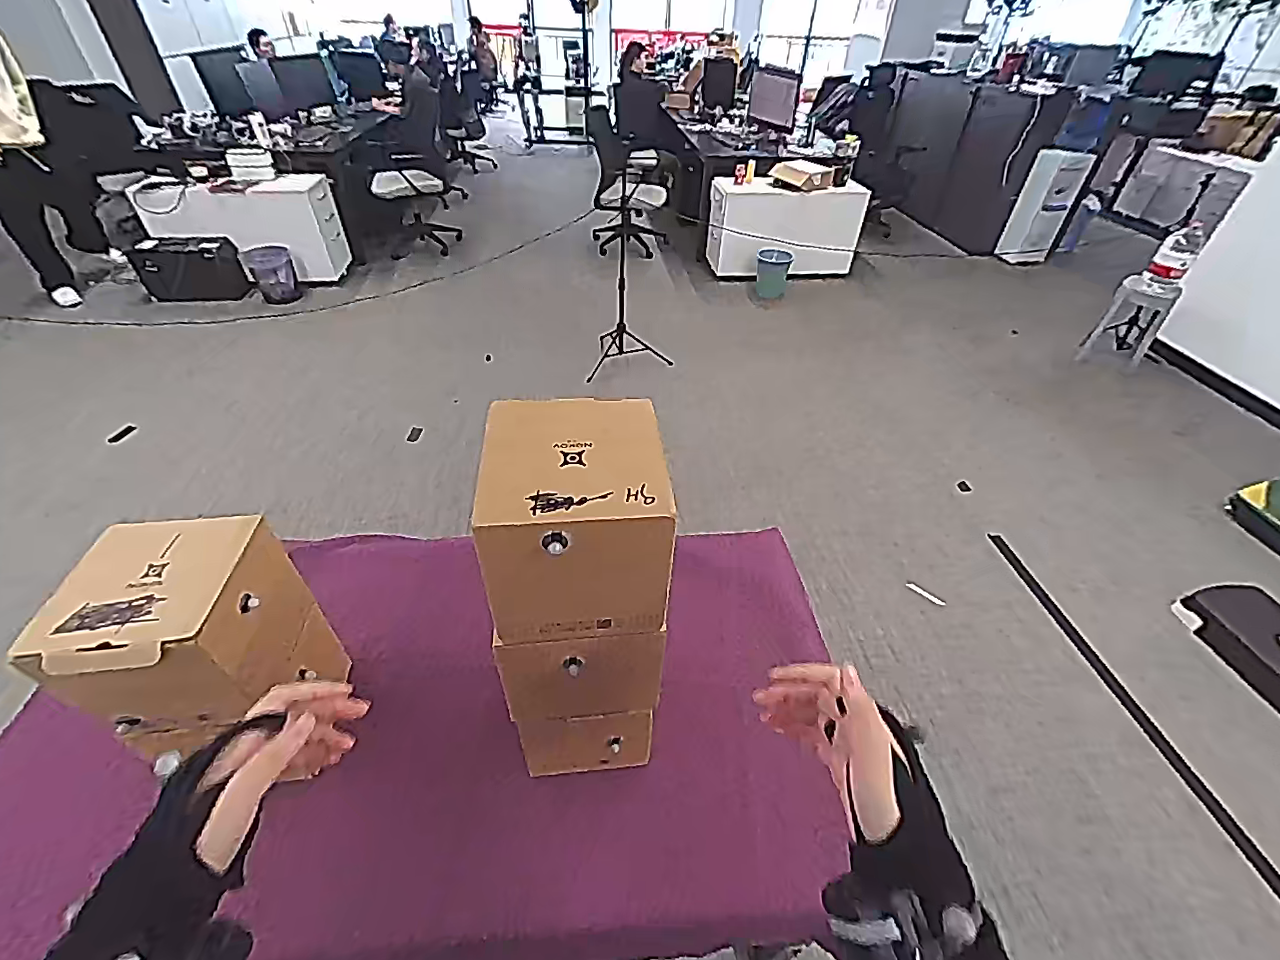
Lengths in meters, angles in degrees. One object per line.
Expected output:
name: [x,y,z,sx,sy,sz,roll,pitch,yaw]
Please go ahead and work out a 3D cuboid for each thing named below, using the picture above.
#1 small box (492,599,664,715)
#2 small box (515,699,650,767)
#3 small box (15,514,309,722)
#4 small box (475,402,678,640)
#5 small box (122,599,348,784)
small box: [-0.071,0.164,0.650,0.179,0.176,0.168,-2,43,-6]
small box: [-0.076,0.285,0.761,0.168,0.176,0.179,-2,41,-6]
small box: [-0.520,0.163,0.630,0.168,0.176,0.179,-3,42,-7]
small box: [-0.060,0.038,0.545,0.168,0.176,0.179,-2,41,-6]
small box: [-0.525,0.286,0.738,0.168,0.176,0.179,-2,43,-6]
